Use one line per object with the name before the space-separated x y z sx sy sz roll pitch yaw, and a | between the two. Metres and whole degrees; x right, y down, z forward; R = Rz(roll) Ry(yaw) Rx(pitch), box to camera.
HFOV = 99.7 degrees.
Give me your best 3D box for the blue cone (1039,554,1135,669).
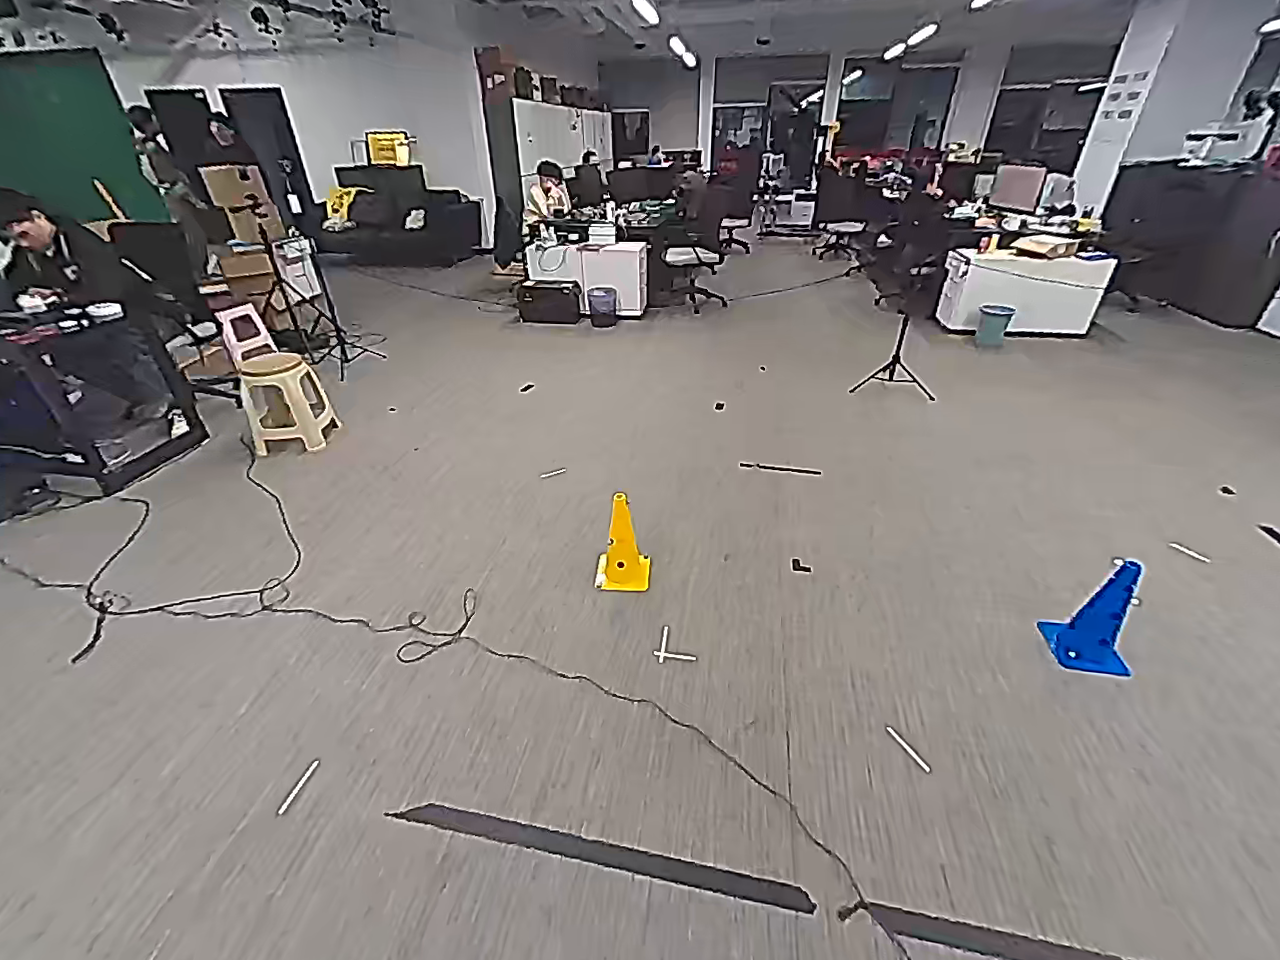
blue cone | 1.429 0.392 1.669 0.193 0.380 0.192 6 32 10
